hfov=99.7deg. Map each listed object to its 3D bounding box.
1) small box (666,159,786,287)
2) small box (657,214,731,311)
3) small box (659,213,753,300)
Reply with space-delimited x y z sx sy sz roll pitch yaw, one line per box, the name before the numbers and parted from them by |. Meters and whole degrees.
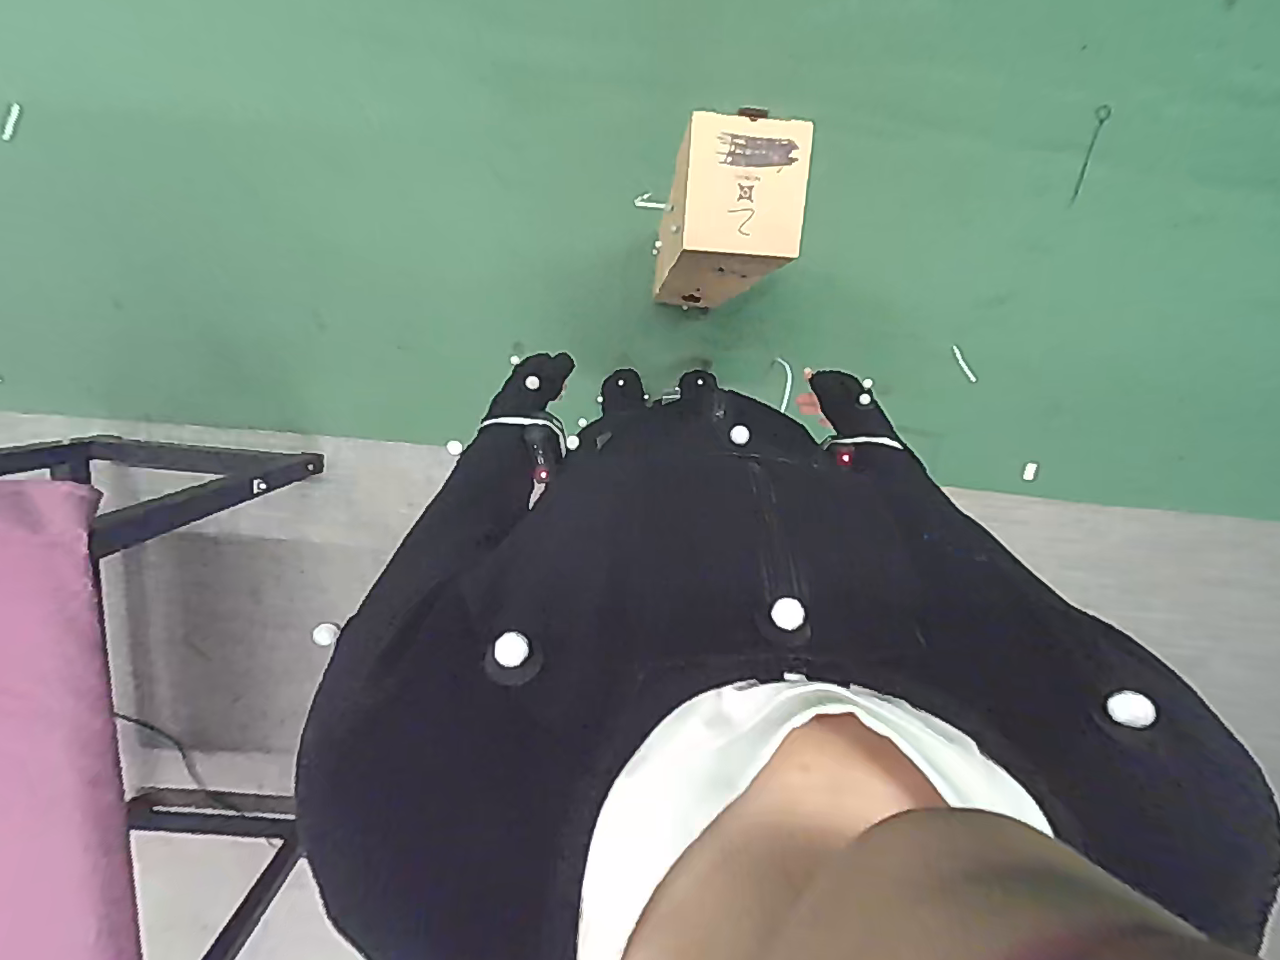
small box | 0.144 -0.449 0.971 0.179 0.176 0.168 4 101 -3
small box | 0.131 -0.512 1.291 0.168 0.176 0.179 5 102 -2
small box | 0.143 -0.480 1.128 0.179 0.176 0.168 7 100 -4
